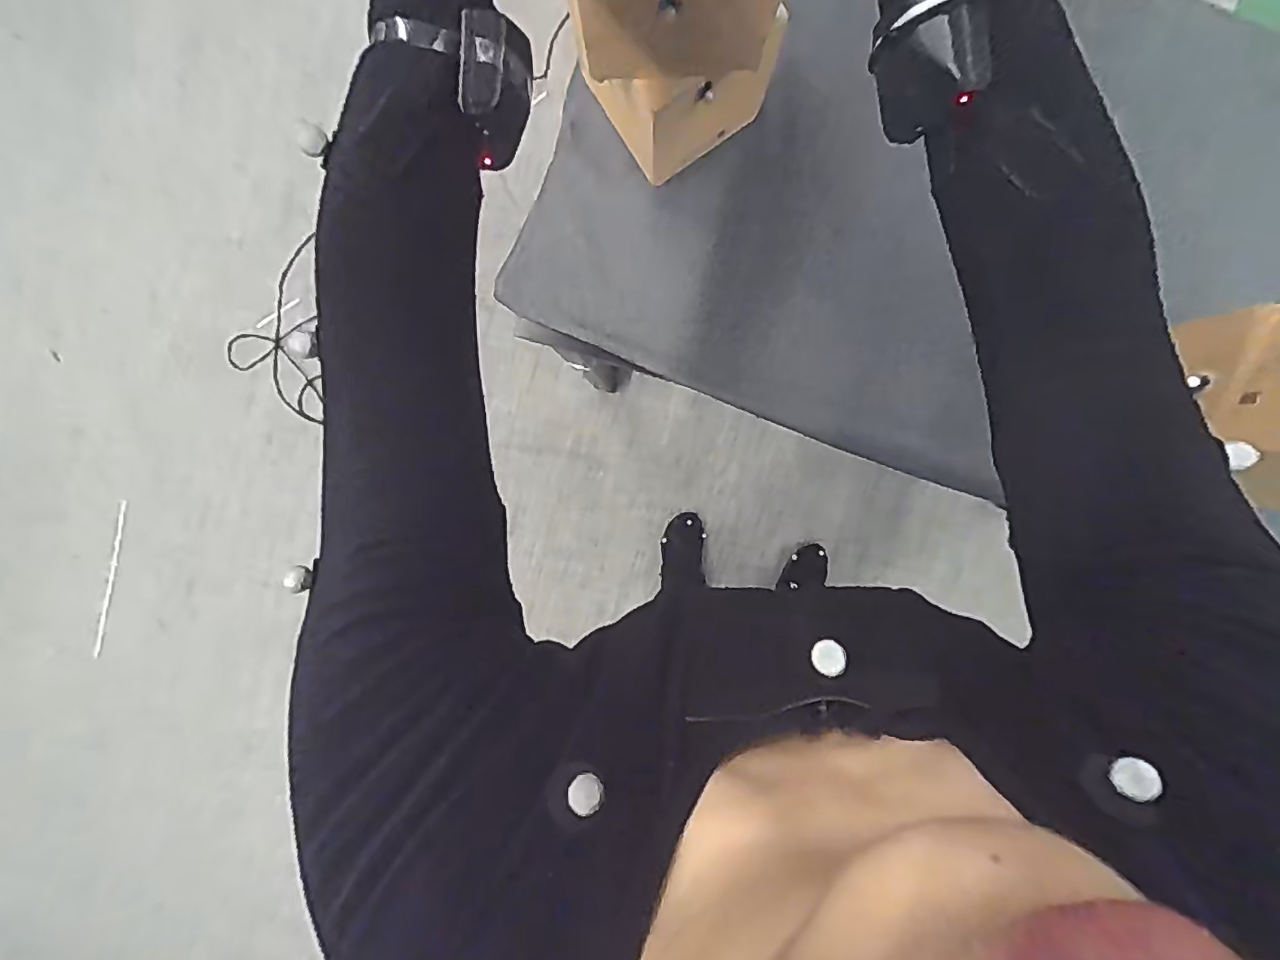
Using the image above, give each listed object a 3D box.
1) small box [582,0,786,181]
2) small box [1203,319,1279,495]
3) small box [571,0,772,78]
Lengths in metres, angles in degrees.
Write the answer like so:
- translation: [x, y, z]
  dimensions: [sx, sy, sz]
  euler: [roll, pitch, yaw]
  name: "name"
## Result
- translation: [0.036, -0.495, 0.623]
  dimensions: [0.168, 0.176, 0.179]
  euler: [-33, 91, 4]
  name: "small box"
- translation: [0.667, -0.056, 0.455]
  dimensions: [0.179, 0.176, 0.168]
  euler: [28, 93, 2]
  name: "small box"
- translation: [0.027, -0.482, 0.458]
  dimensions: [0.179, 0.176, 0.168]
  euler: [-2, 94, 3]
  name: "small box"
